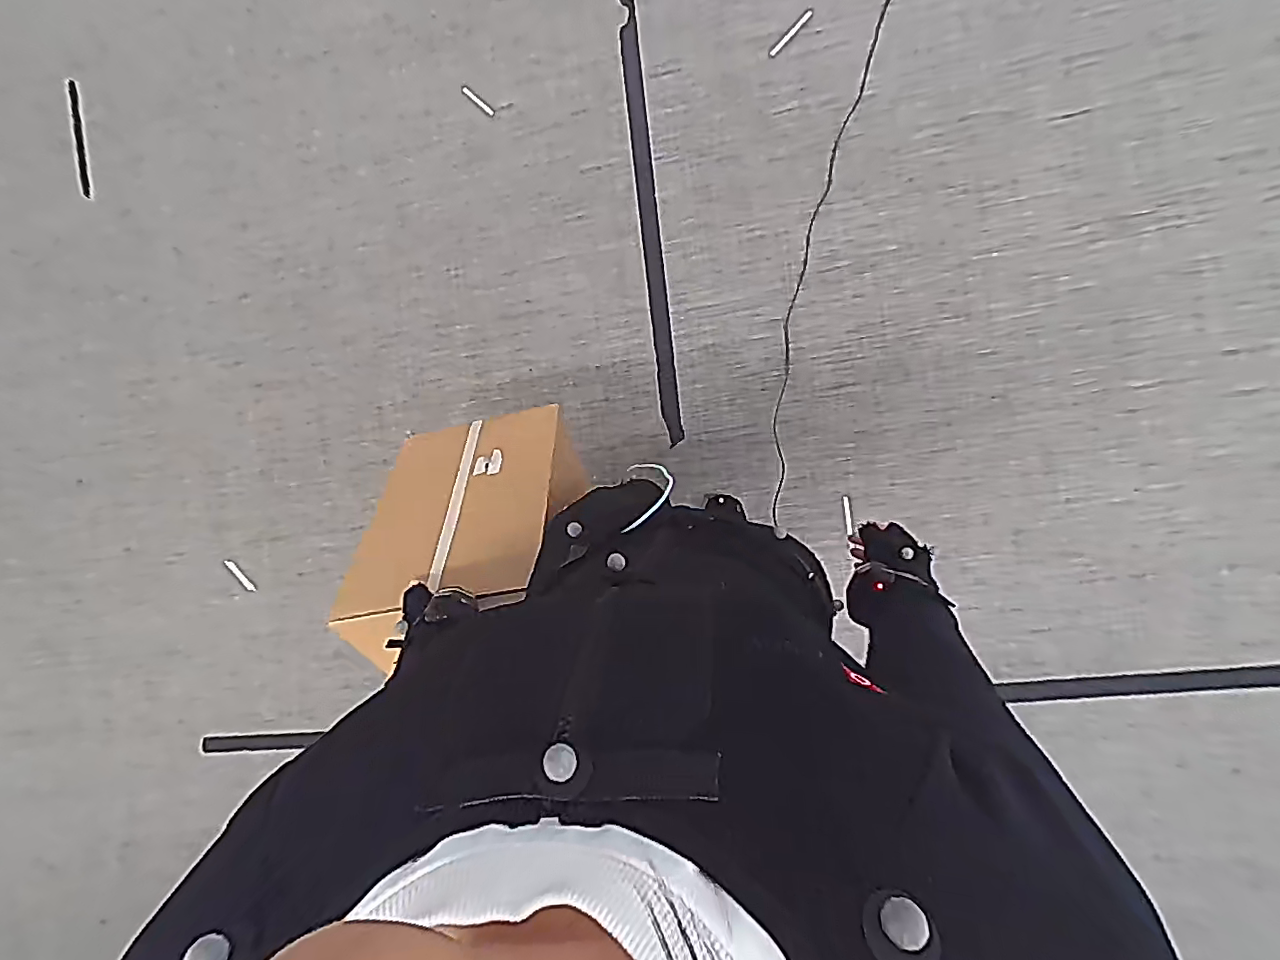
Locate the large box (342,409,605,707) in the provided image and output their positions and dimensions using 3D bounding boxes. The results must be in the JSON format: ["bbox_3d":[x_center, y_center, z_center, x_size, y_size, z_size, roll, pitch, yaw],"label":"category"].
[{"bbox_3d":[-0.253,0.138,0.984,0.320,0.320,0.408,-11,44,7],"label":"large box"}]
